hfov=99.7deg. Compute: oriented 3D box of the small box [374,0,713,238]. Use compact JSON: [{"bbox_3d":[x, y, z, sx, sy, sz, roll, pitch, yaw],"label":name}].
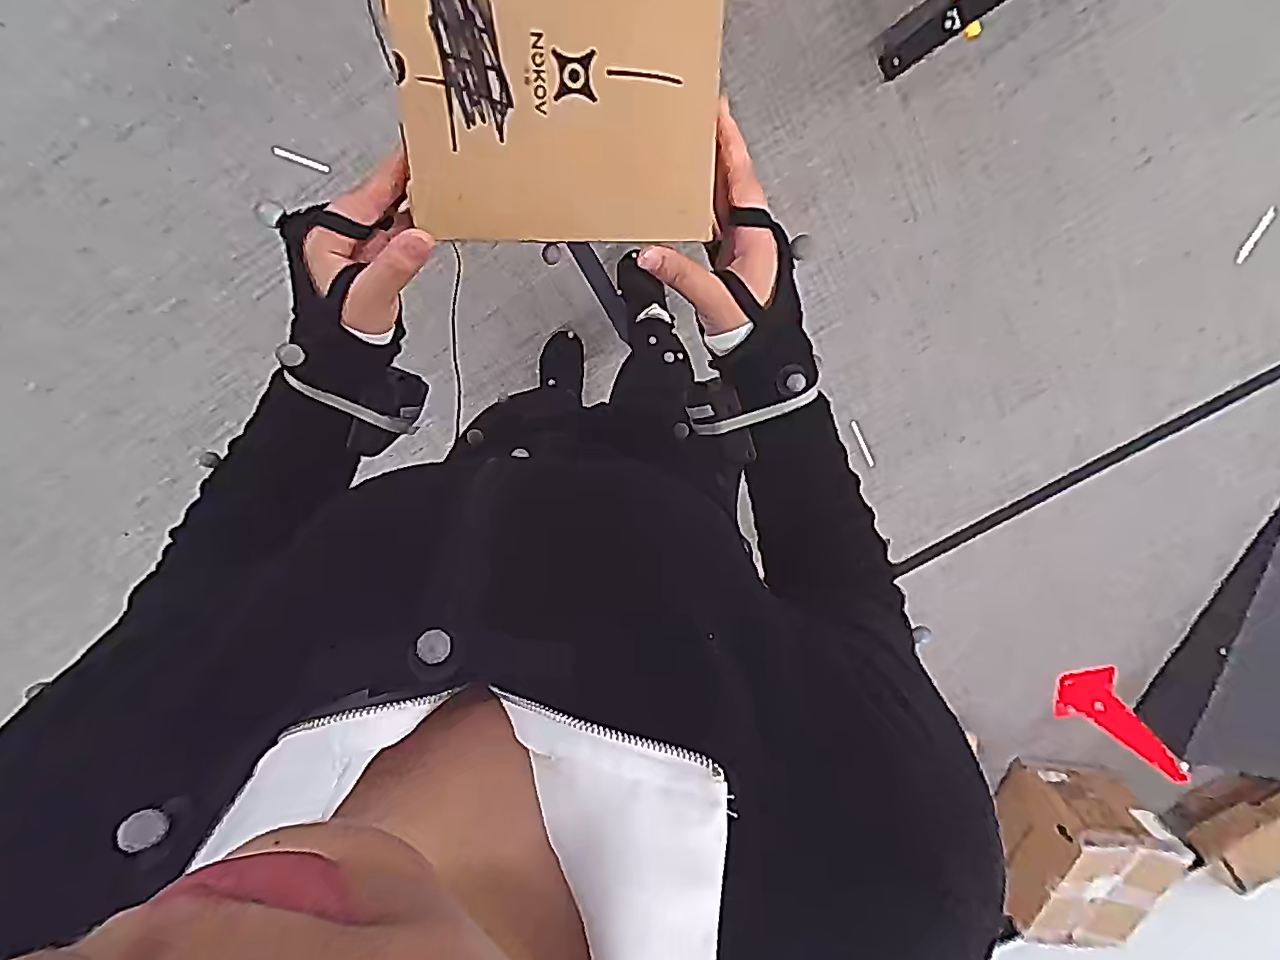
[{"bbox_3d":[-0.053,-0.253,0.361,0.179,0.176,0.168,-3,114,-4],"label":"small box"}]
